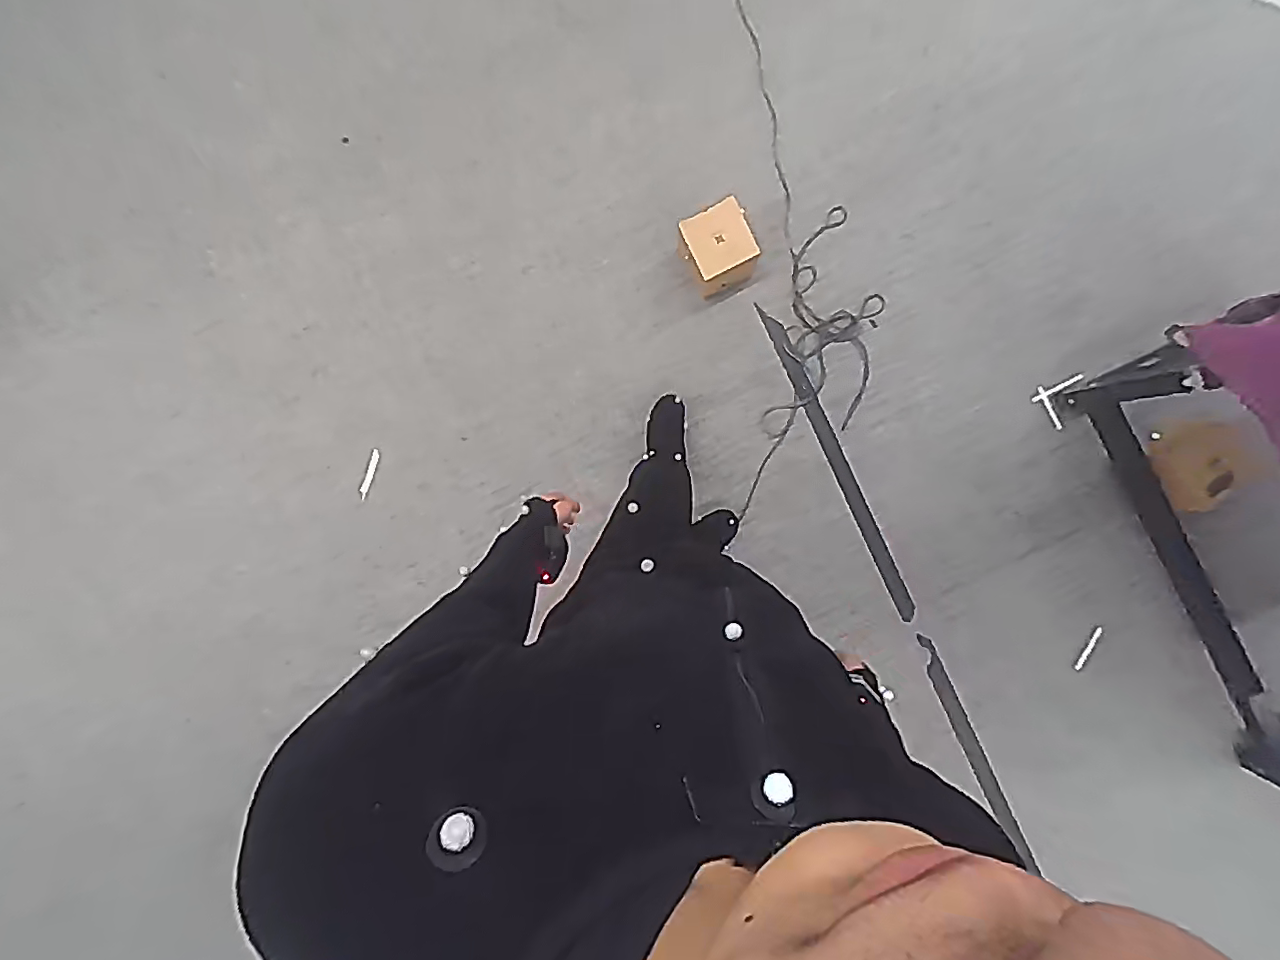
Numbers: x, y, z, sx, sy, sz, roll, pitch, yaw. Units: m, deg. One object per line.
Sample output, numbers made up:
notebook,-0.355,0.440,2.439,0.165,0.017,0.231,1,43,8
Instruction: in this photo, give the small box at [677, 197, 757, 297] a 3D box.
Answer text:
small box,0.210,-0.647,1.523,0.168,0.176,0.179,-25,90,5
